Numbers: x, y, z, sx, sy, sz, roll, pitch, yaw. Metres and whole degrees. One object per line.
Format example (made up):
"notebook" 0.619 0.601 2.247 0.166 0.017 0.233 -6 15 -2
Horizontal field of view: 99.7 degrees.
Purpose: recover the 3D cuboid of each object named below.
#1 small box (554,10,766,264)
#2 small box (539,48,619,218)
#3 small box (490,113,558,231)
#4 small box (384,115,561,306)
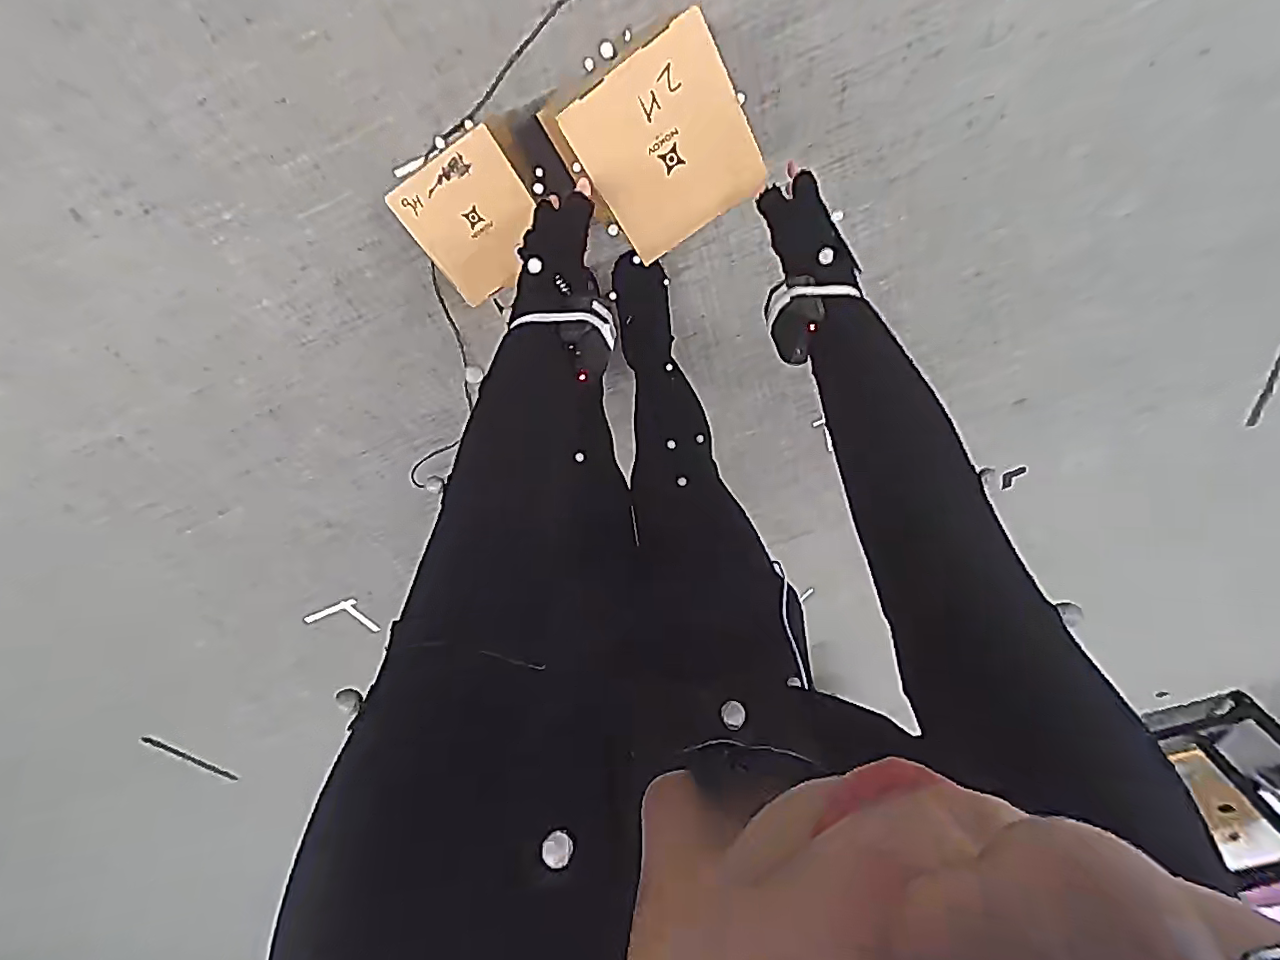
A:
"small box" 0.018 -0.392 0.624 0.168 0.176 0.179 -30 127 14
"small box" -0.053 -0.572 0.892 0.168 0.176 0.179 -28 127 12
"small box" -0.252 -0.492 0.922 0.168 0.176 0.179 -25 127 9
"small box" -0.231 -0.395 0.790 0.168 0.176 0.179 -28 128 11
